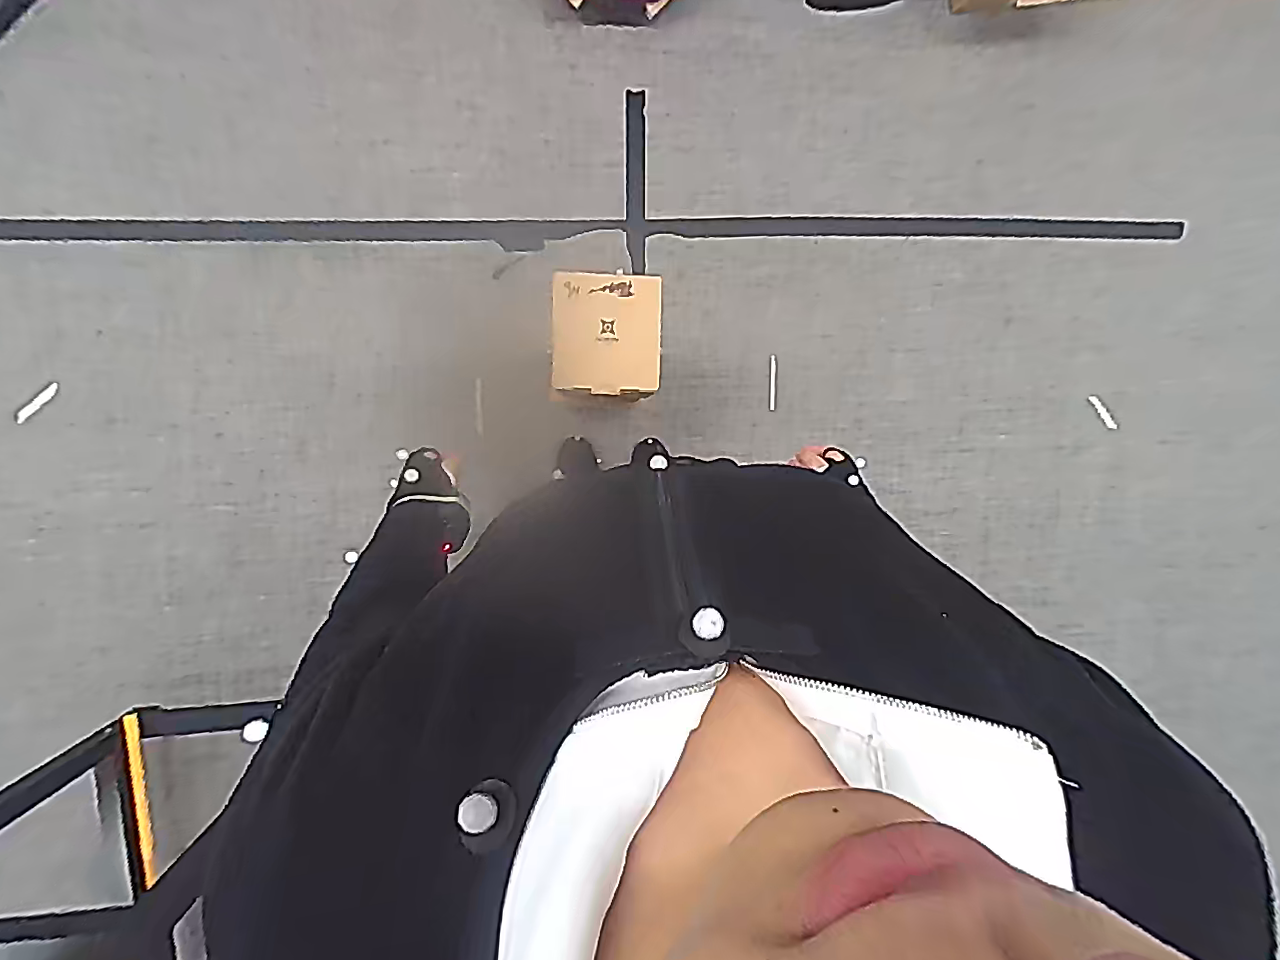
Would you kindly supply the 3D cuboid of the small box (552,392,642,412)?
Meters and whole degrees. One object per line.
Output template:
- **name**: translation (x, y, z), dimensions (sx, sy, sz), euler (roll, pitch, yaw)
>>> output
- **small box**: translation (-0.078, -0.228, 1.053), dimensions (0.168, 0.176, 0.179), euler (4, 97, -5)

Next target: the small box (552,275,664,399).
- **small box**: translation (-0.053, -0.225, 0.891), dimensions (0.168, 0.176, 0.179), euler (1, 97, -5)
